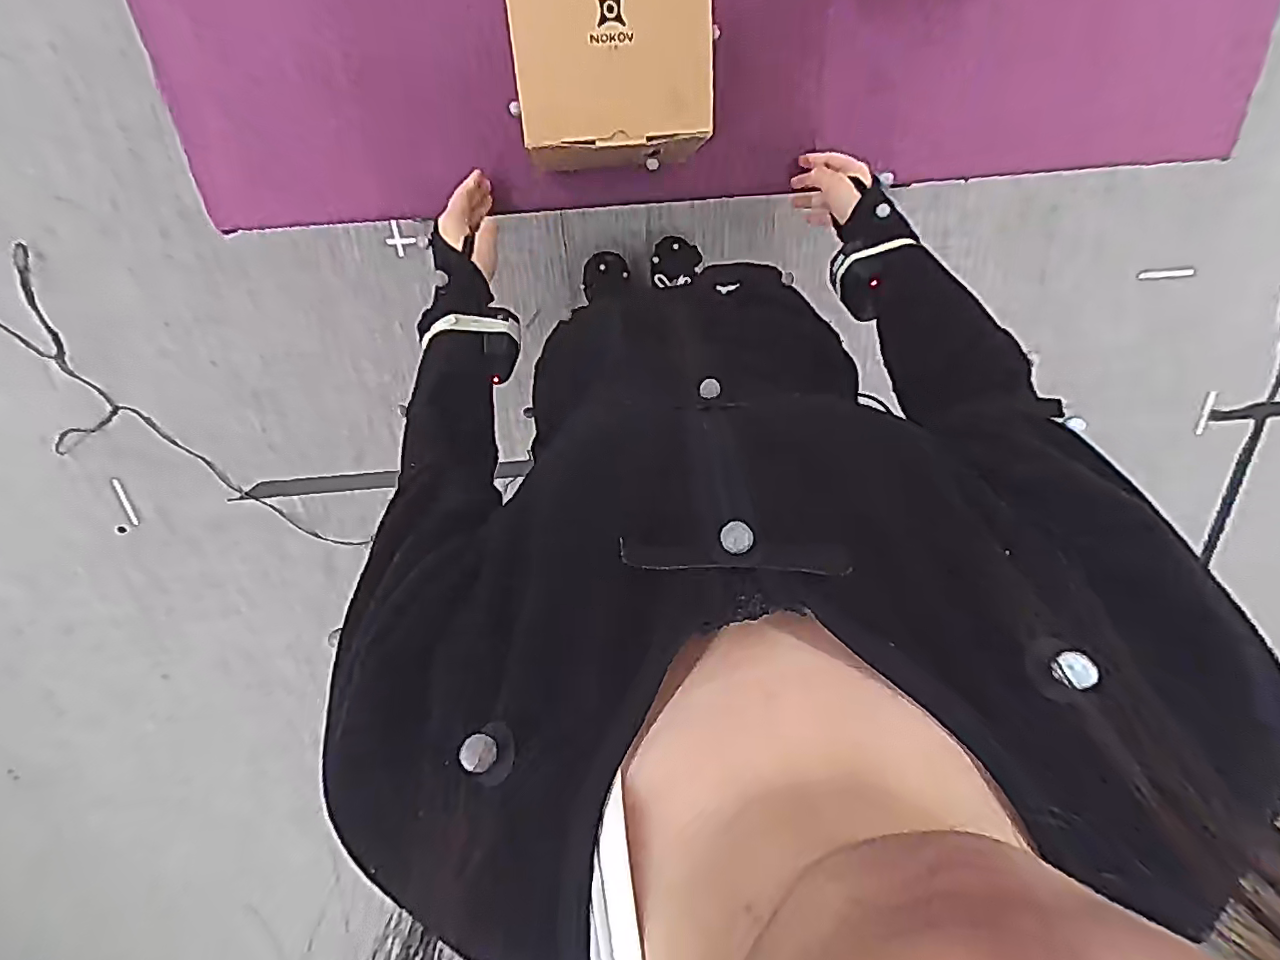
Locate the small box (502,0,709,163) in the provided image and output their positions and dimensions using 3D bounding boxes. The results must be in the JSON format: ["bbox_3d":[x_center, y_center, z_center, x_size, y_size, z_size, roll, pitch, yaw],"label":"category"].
[{"bbox_3d":[-0.033,-0.406,0.504,0.168,0.176,0.179,-7,113,-3],"label":"small box"}]
